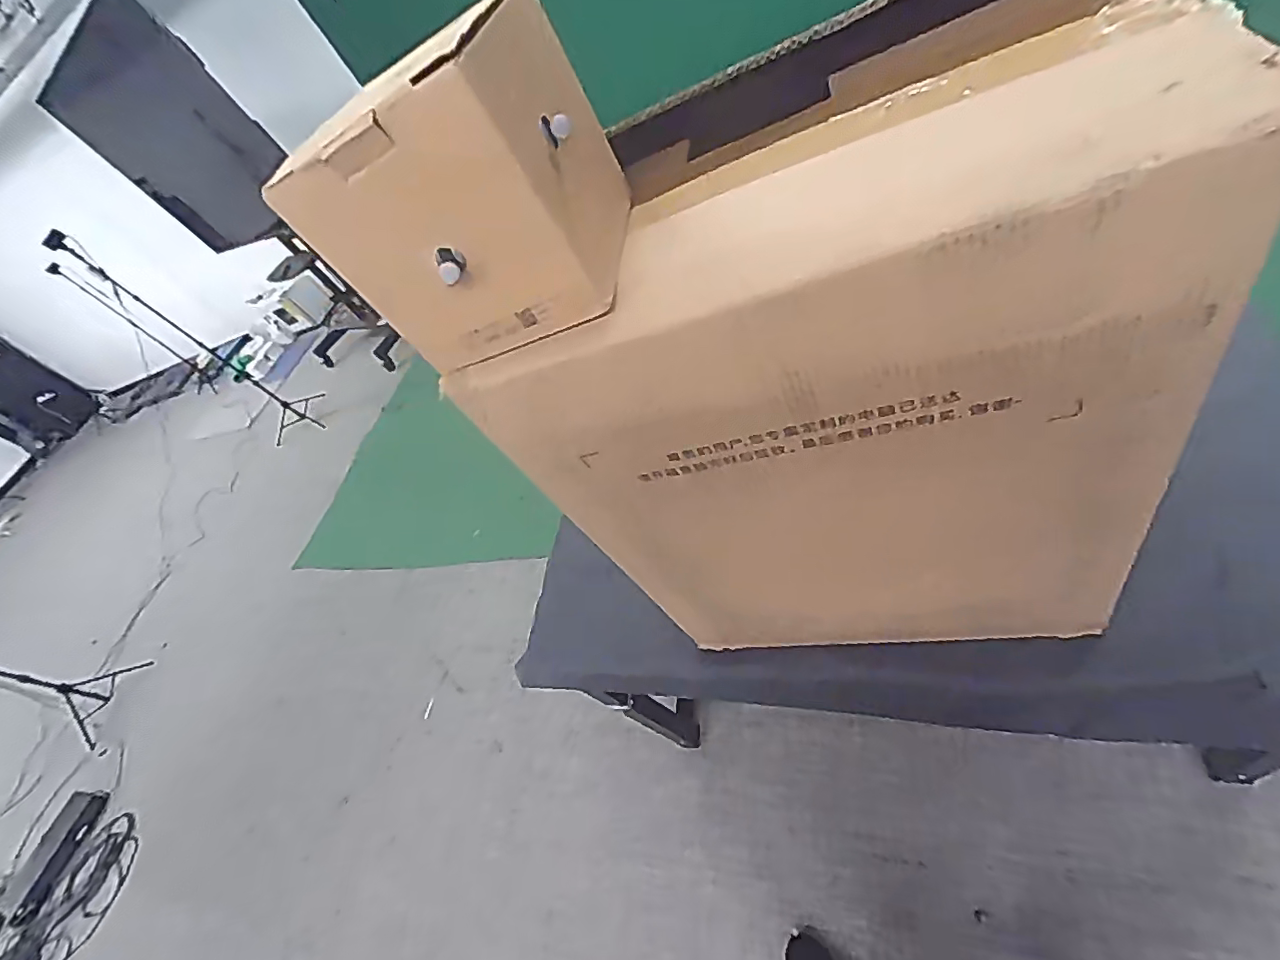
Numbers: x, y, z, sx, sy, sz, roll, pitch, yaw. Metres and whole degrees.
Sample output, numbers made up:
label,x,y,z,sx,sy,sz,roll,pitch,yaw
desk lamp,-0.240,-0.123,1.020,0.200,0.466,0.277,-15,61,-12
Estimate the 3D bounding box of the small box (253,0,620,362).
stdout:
label,x,y,z,sx,sy,sz,roll,pitch,yaw
small box,-0.128,-0.211,0.408,0.168,0.176,0.179,-13,51,25
